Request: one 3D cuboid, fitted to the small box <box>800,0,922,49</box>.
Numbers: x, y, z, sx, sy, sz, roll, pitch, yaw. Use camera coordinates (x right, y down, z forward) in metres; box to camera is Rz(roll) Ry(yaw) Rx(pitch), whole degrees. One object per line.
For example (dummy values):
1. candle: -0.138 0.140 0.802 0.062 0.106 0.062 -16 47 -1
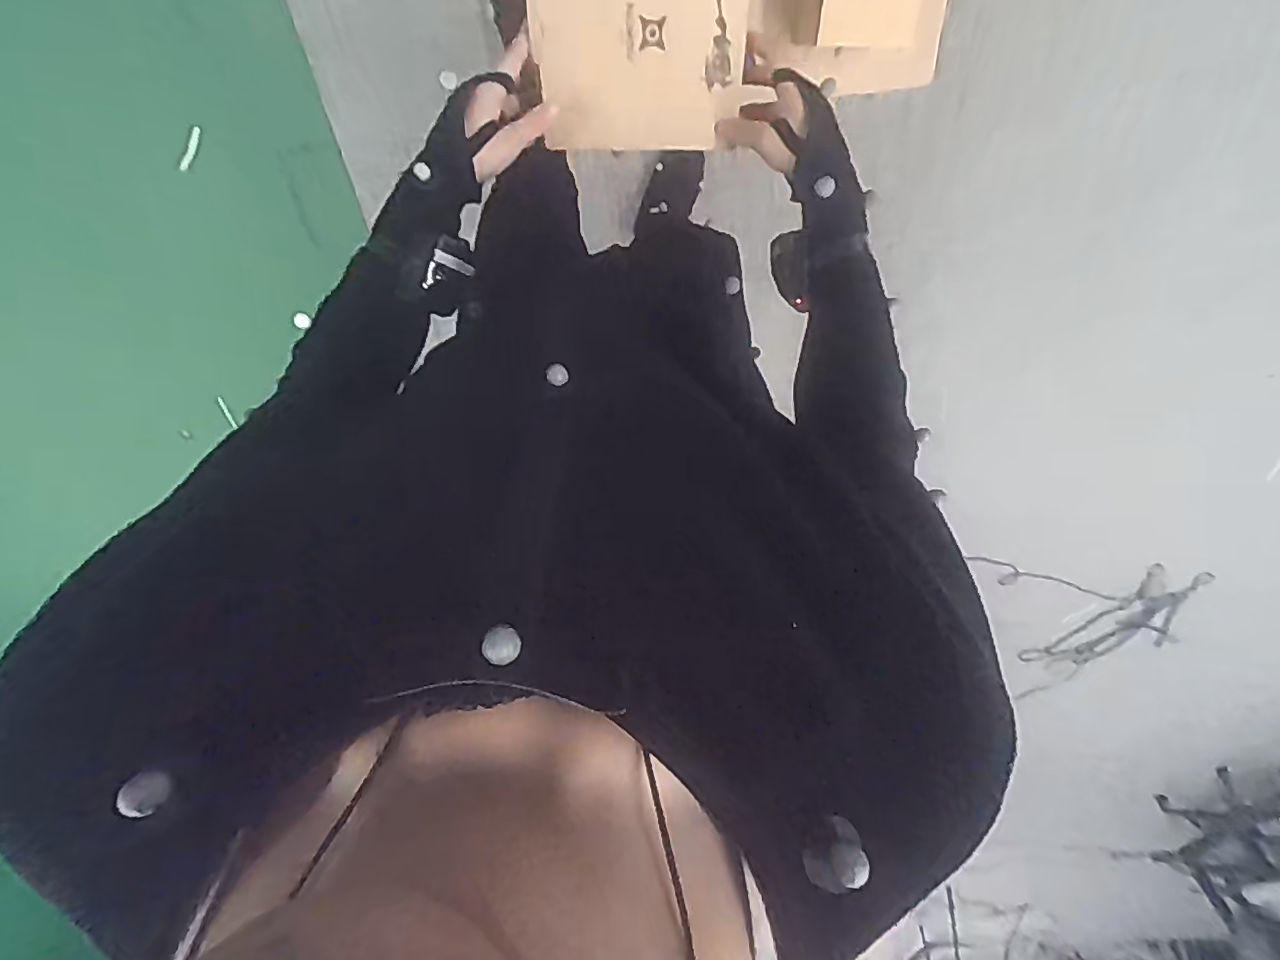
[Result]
1. small box: 0.386 -0.863 0.940 0.168 0.176 0.179 -1 127 1
